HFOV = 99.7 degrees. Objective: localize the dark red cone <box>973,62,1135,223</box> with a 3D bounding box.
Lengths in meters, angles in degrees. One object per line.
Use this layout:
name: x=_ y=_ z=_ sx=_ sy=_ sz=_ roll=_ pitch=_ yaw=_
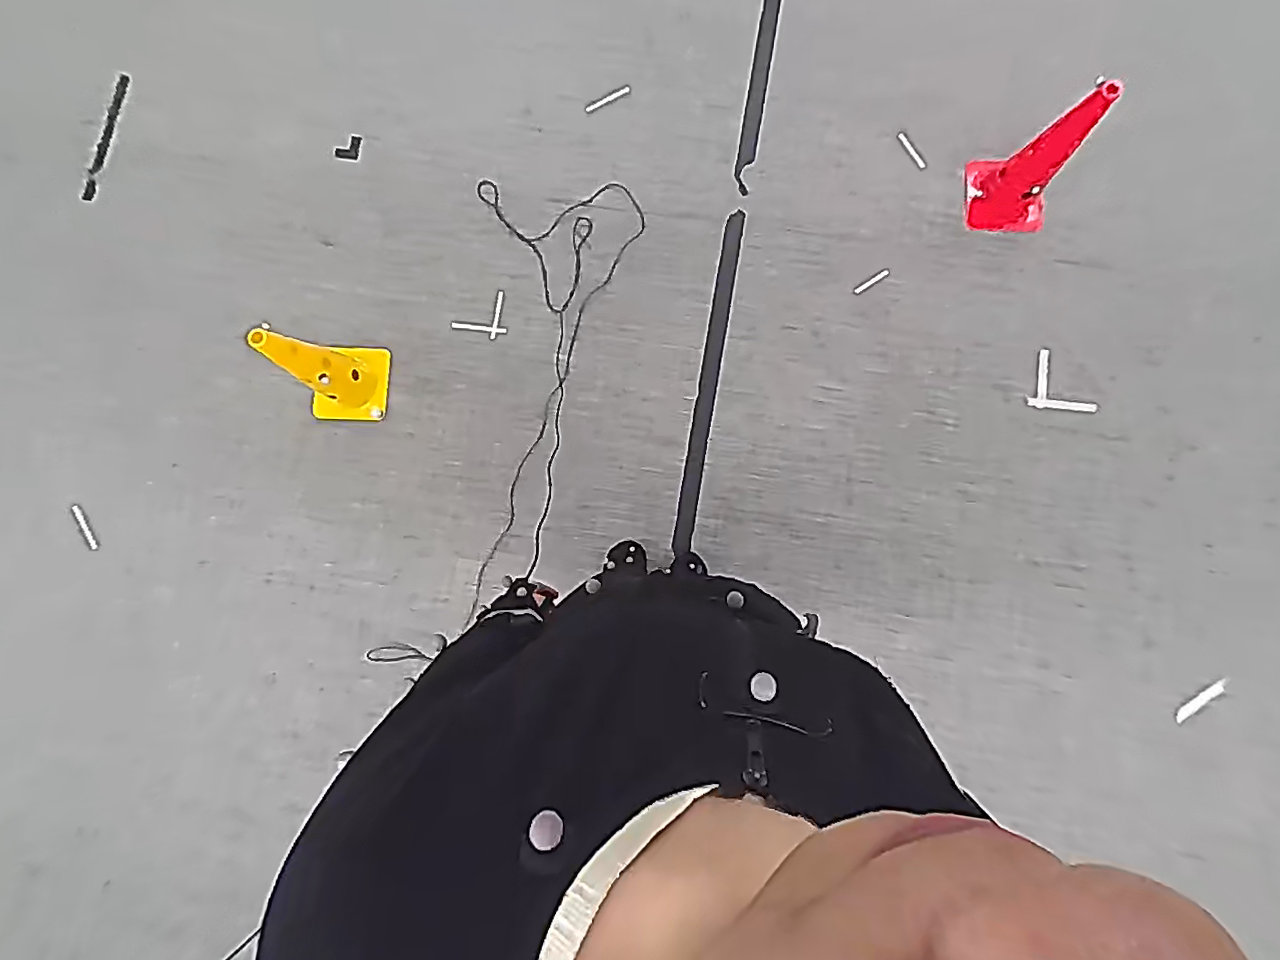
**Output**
dark red cone: x=0.970 y=-0.789 z=1.257 sx=0.201 sy=0.394 sz=0.202 roll=1 pitch=84 yaw=3
